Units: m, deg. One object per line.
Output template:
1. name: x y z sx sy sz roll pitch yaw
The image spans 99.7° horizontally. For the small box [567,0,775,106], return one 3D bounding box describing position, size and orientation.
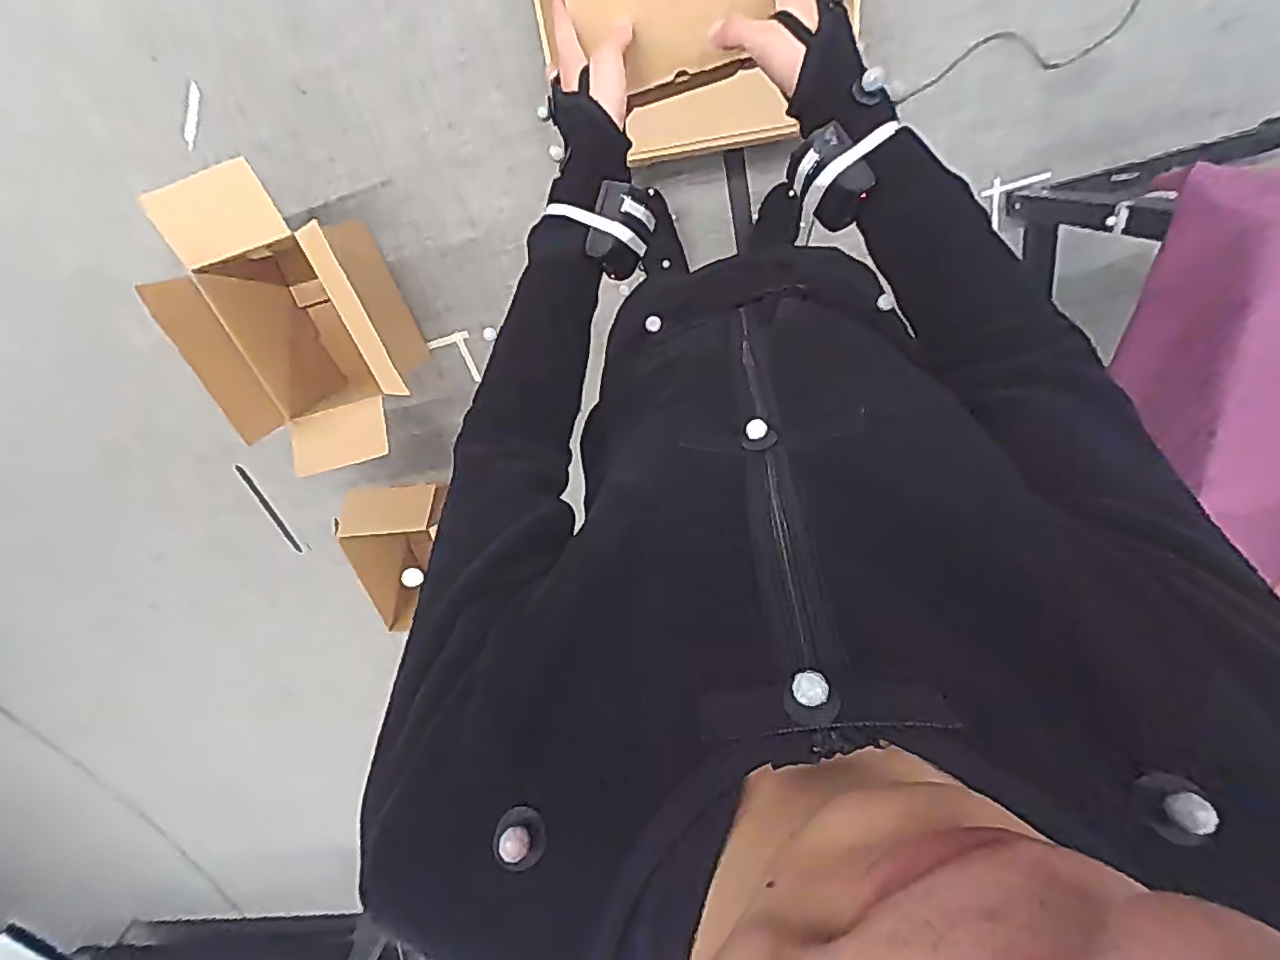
1. small box: 0.019 -0.467 0.470 0.168 0.176 0.179 -10 135 11
